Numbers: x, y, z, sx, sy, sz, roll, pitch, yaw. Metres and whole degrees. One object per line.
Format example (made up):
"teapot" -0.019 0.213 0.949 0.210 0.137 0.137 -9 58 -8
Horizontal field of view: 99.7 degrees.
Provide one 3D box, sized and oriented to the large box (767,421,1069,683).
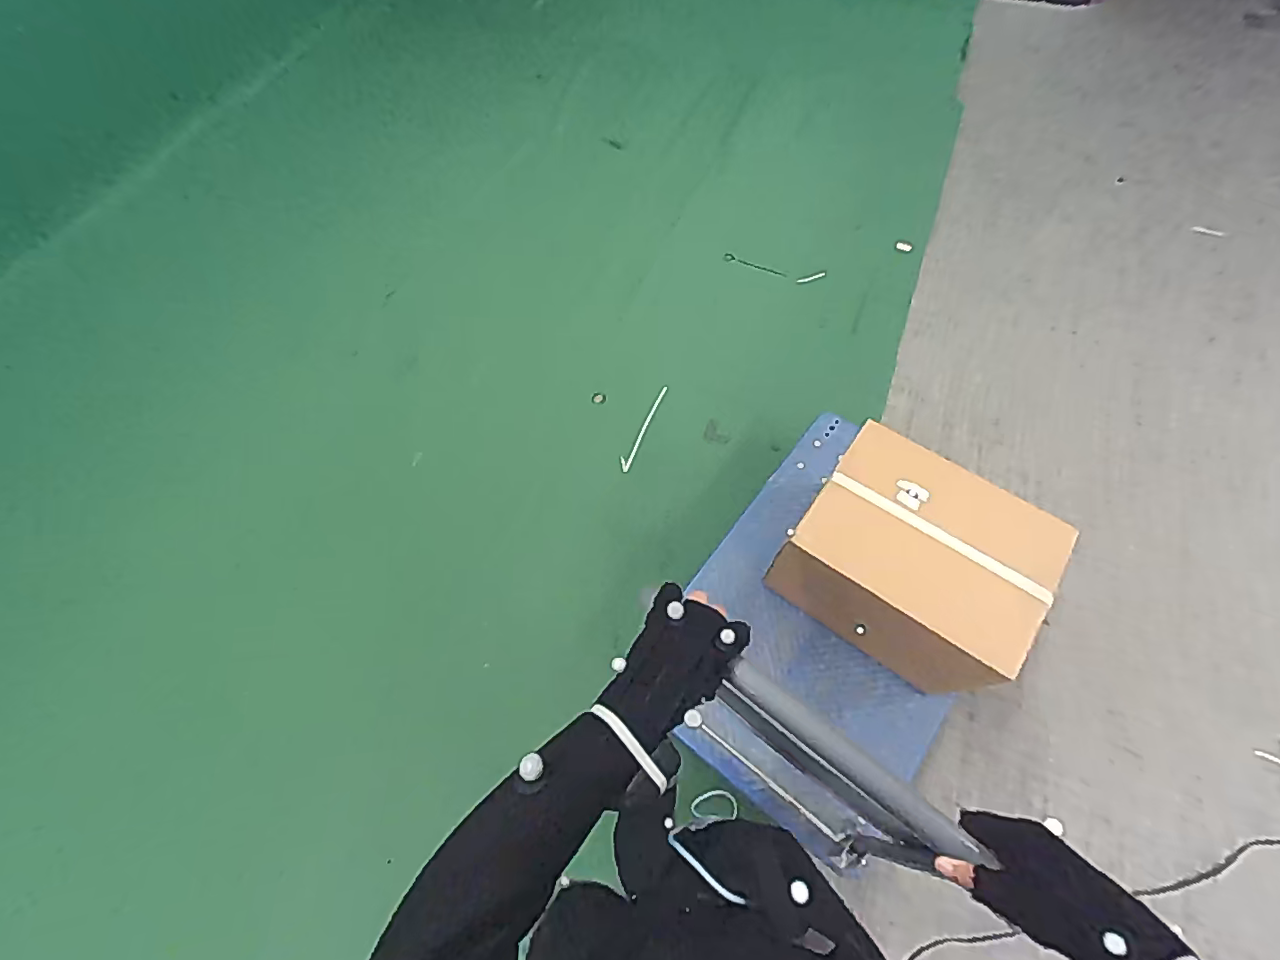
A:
"large box" 0.526 0.156 1.102 0.408 0.320 0.320 32 70 18
